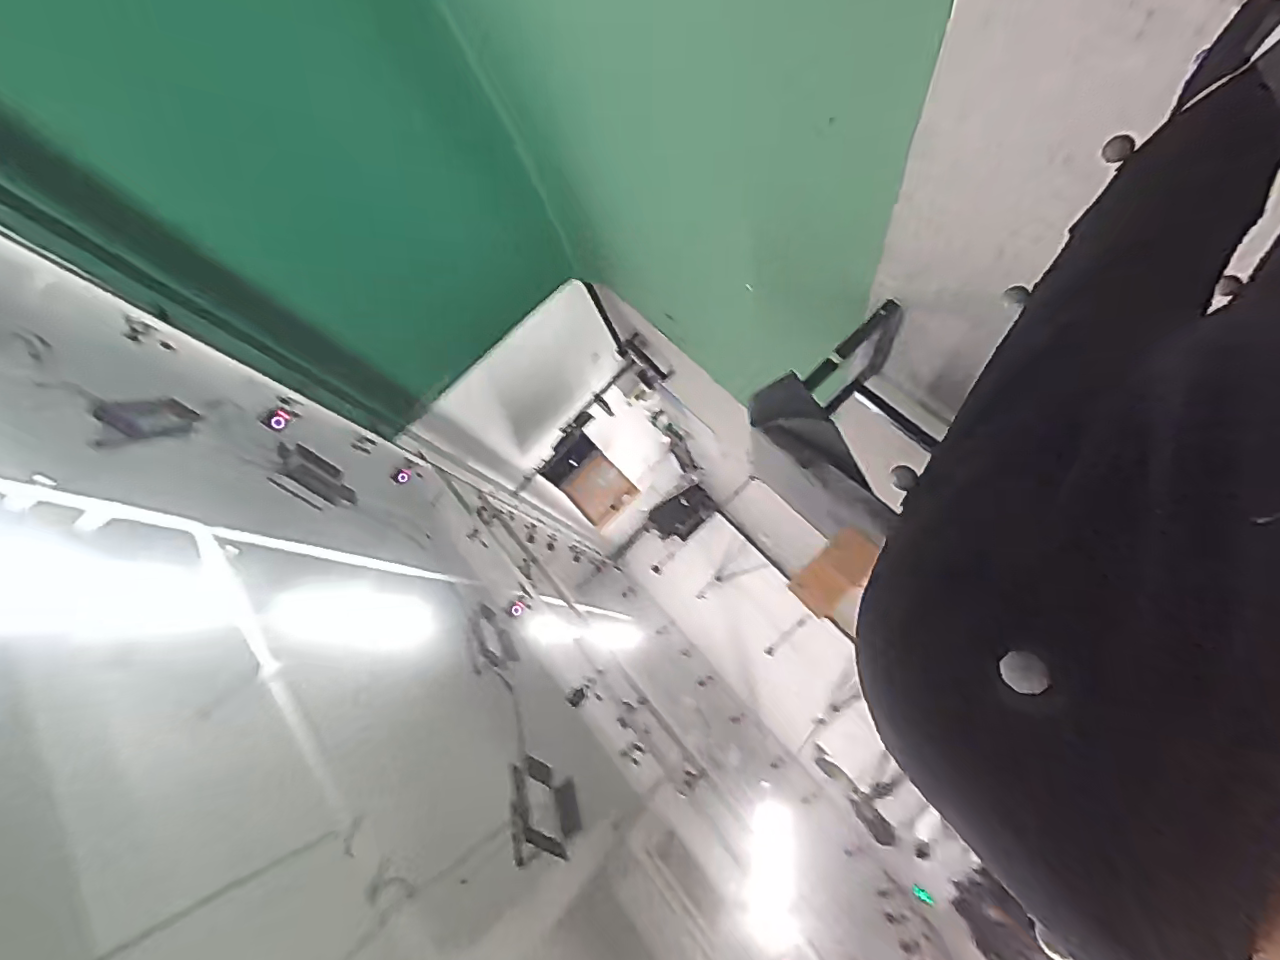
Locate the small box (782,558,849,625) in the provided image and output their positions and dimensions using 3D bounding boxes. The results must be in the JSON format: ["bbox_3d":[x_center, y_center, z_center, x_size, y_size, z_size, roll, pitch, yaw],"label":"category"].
[{"bbox_3d":[0.652,0.417,2.017,0.179,0.176,0.168,47,178,21],"label":"small box"}]
